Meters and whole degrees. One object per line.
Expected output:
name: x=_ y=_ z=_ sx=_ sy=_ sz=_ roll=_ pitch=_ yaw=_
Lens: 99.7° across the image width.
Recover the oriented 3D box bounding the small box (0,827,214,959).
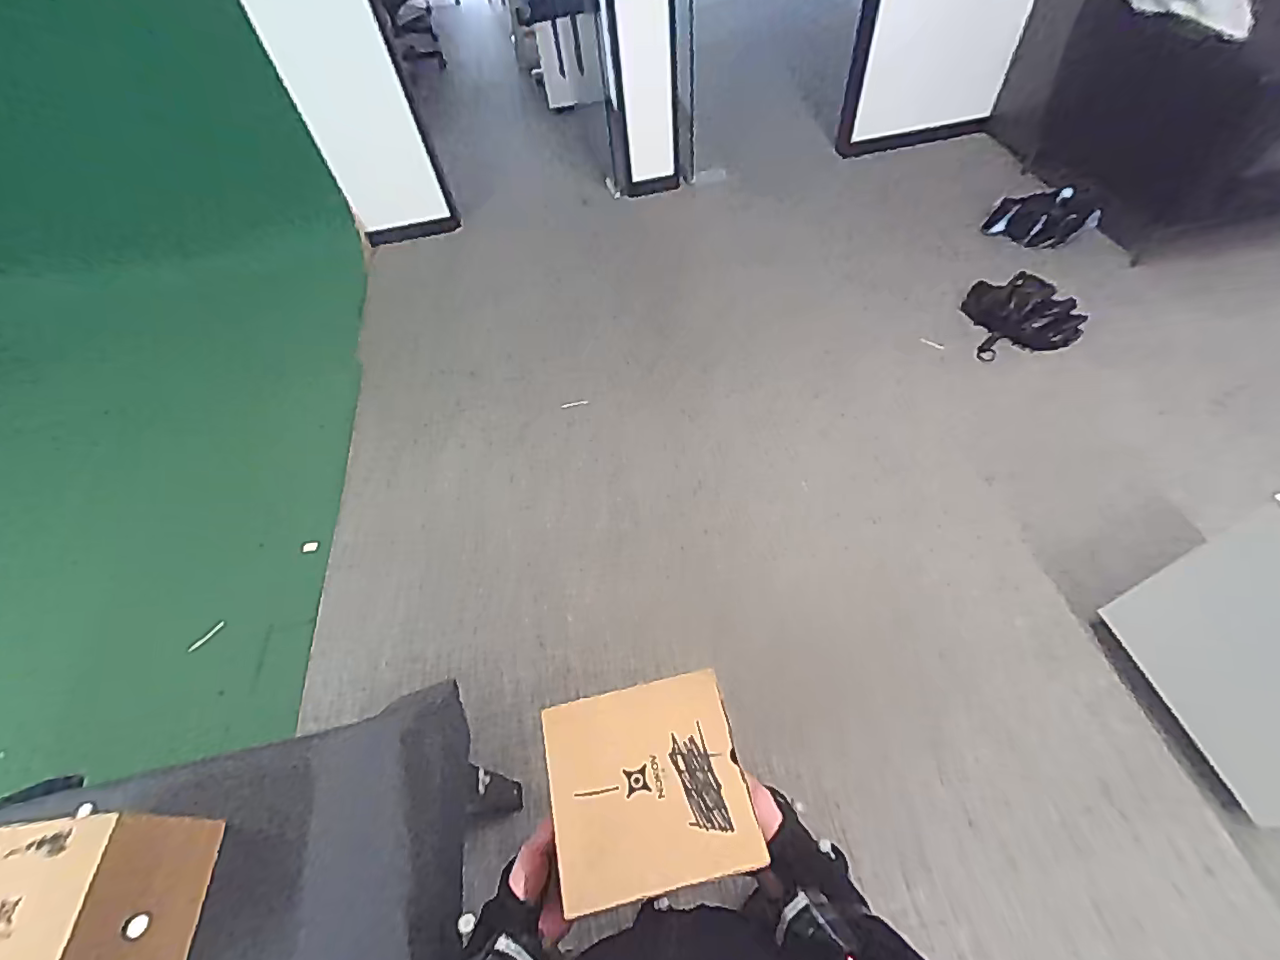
small box: x=-0.627 y=0.495 z=0.597 sx=0.168 sy=0.176 sz=0.179 roll=-7 pitch=55 yaw=0
